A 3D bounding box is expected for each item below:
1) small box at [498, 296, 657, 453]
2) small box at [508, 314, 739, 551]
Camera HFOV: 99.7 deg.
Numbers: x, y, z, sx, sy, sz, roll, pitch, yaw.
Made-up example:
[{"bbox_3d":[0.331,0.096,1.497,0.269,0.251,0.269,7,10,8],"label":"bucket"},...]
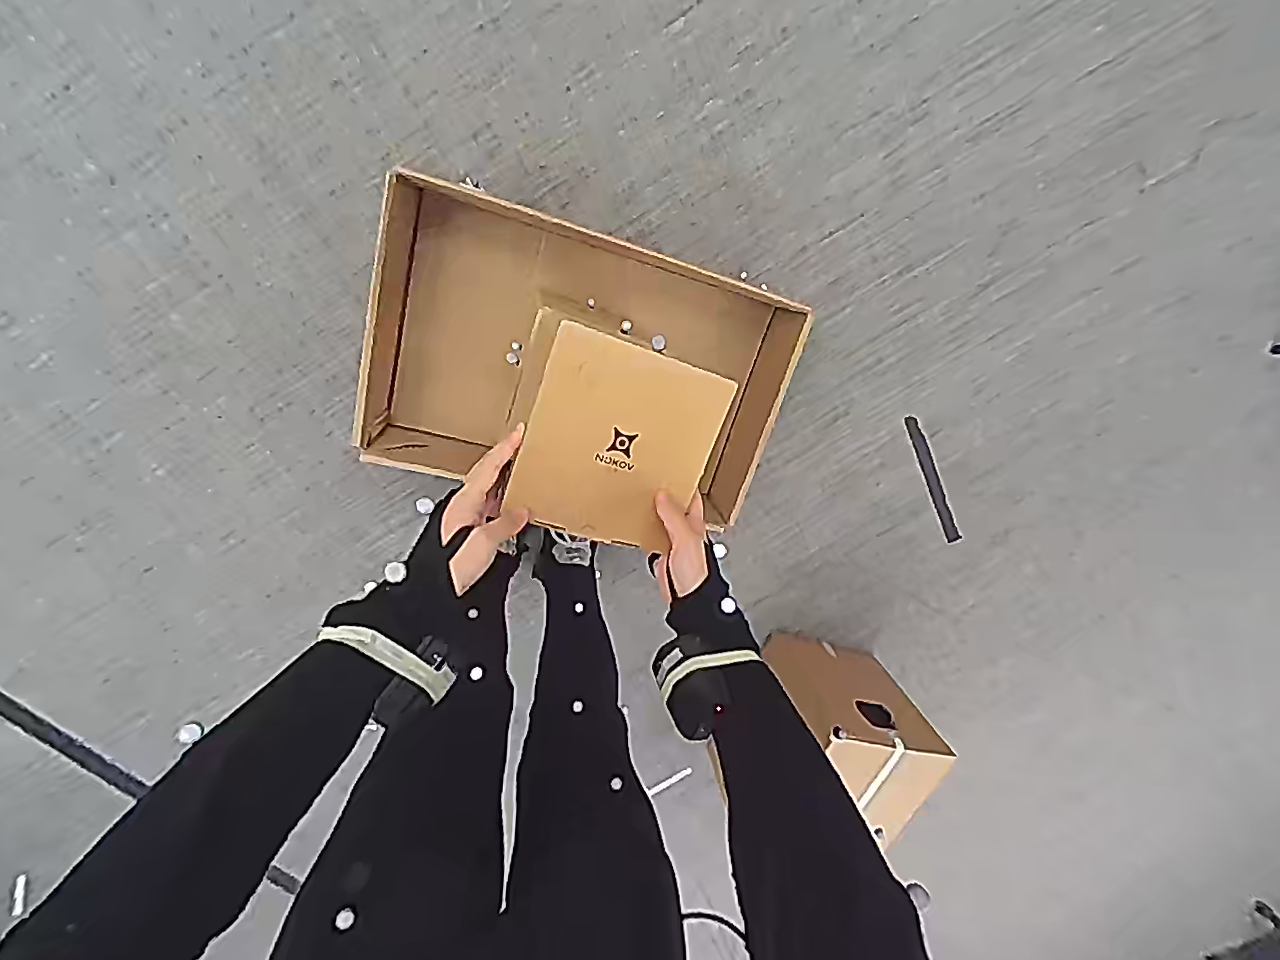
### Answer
[{"bbox_3d":[-0.074,-0.120,0.697,0.168,0.176,0.179,16,109,-17],"label":"small box"},{"bbox_3d":[-0.033,-0.056,0.543,0.168,0.176,0.179,16,105,-19],"label":"small box"}]
